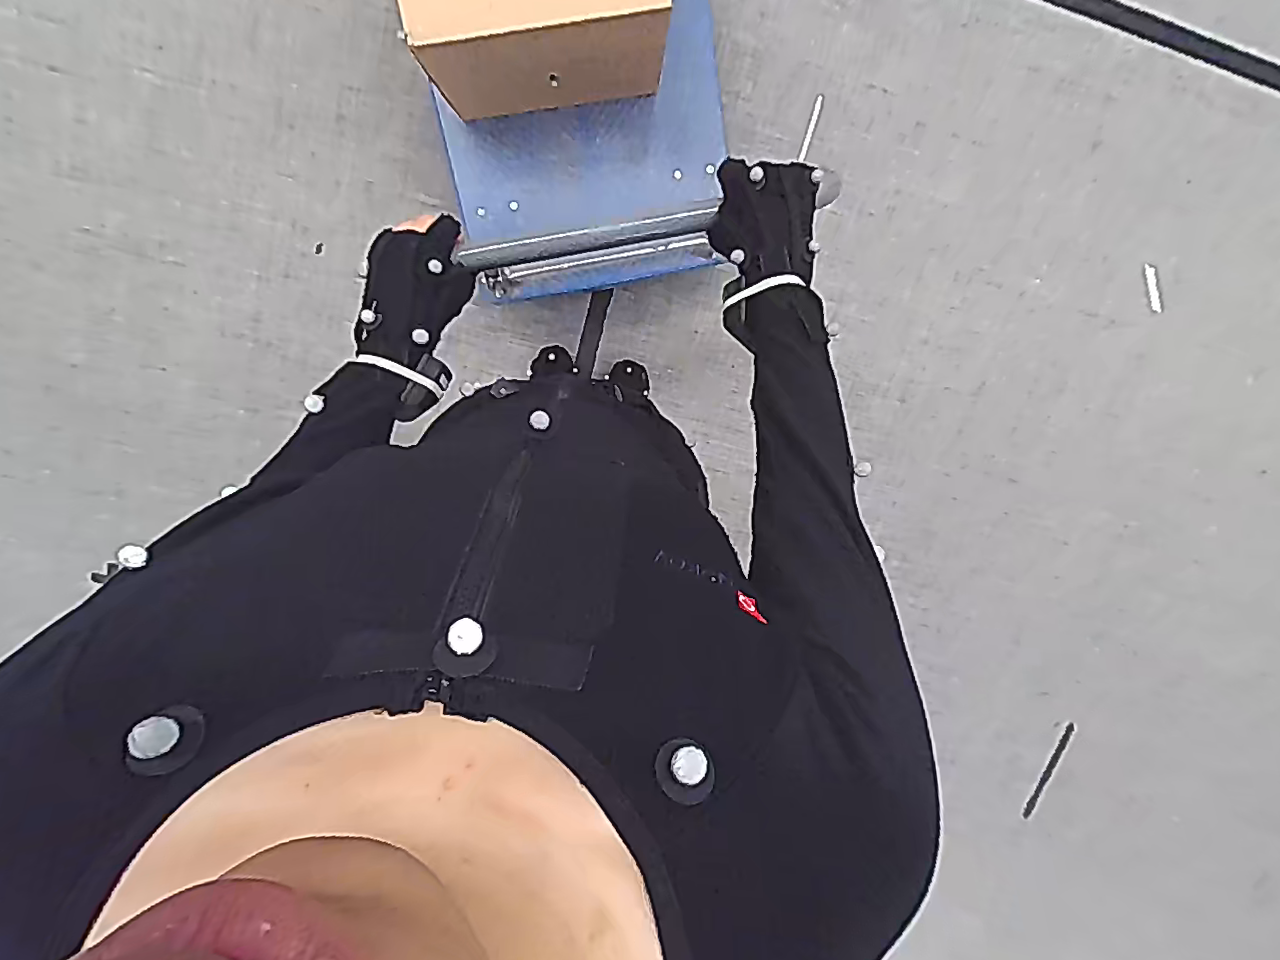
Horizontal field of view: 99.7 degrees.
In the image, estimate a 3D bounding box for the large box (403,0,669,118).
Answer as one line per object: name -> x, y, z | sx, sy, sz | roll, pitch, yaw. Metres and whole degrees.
large box -> -0.177, -0.872, 0.925 | 0.408, 0.320, 0.320 | -9, 106, 1
